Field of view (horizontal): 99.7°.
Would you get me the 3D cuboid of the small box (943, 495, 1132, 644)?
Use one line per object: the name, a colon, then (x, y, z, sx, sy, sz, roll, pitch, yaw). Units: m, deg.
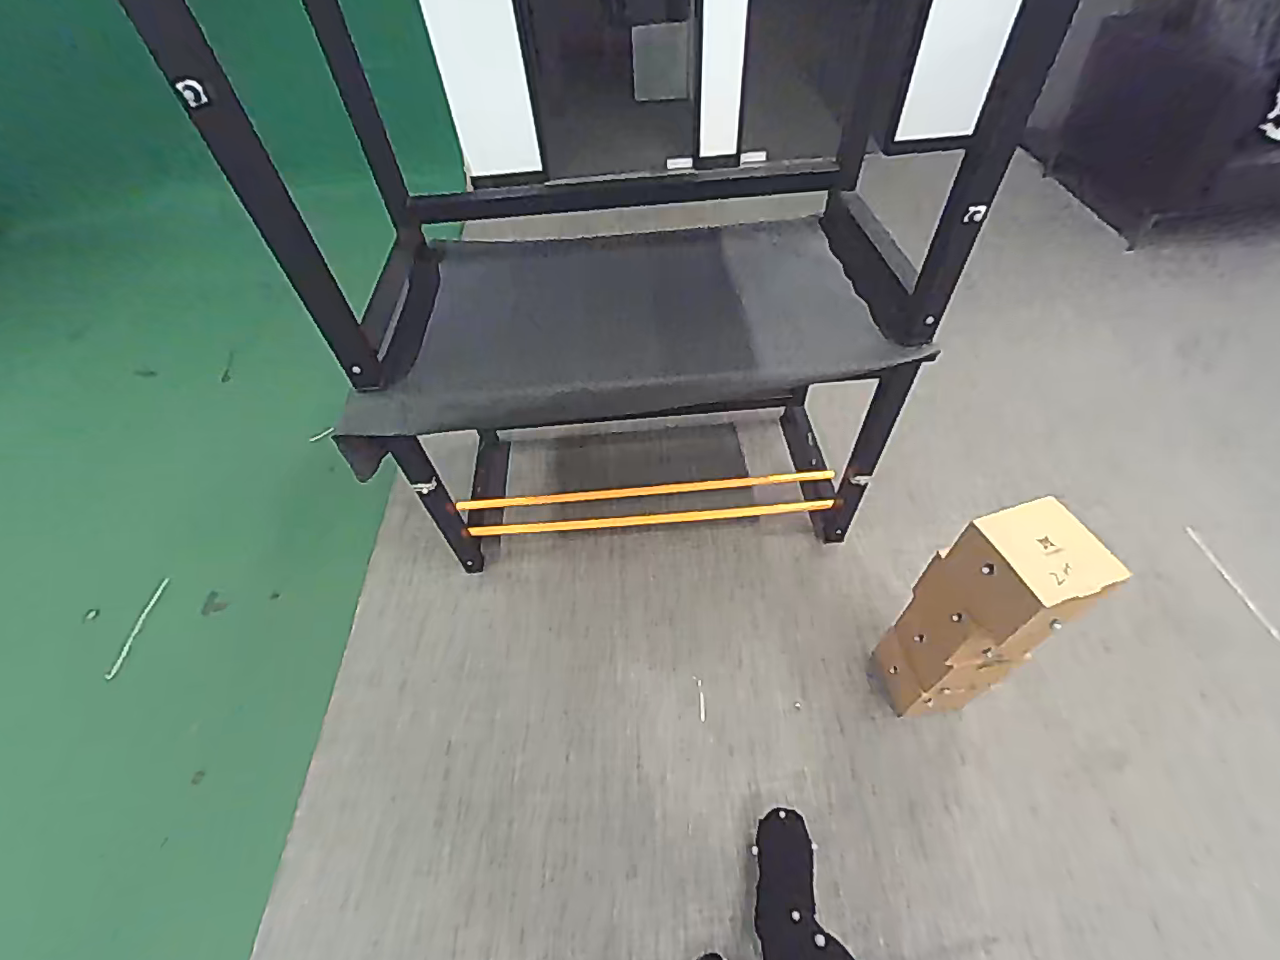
small box: (0.678, 0.160, 0.952, 0.168, 0.176, 0.179, -16, 52, -7)

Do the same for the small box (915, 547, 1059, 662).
small box: (0.688, 0.247, 1.091, 0.168, 0.176, 0.179, -5, 51, 1)

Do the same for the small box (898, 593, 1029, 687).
small box: (0.711, 0.353, 1.214, 0.168, 0.176, 0.179, -7, 50, -1)
